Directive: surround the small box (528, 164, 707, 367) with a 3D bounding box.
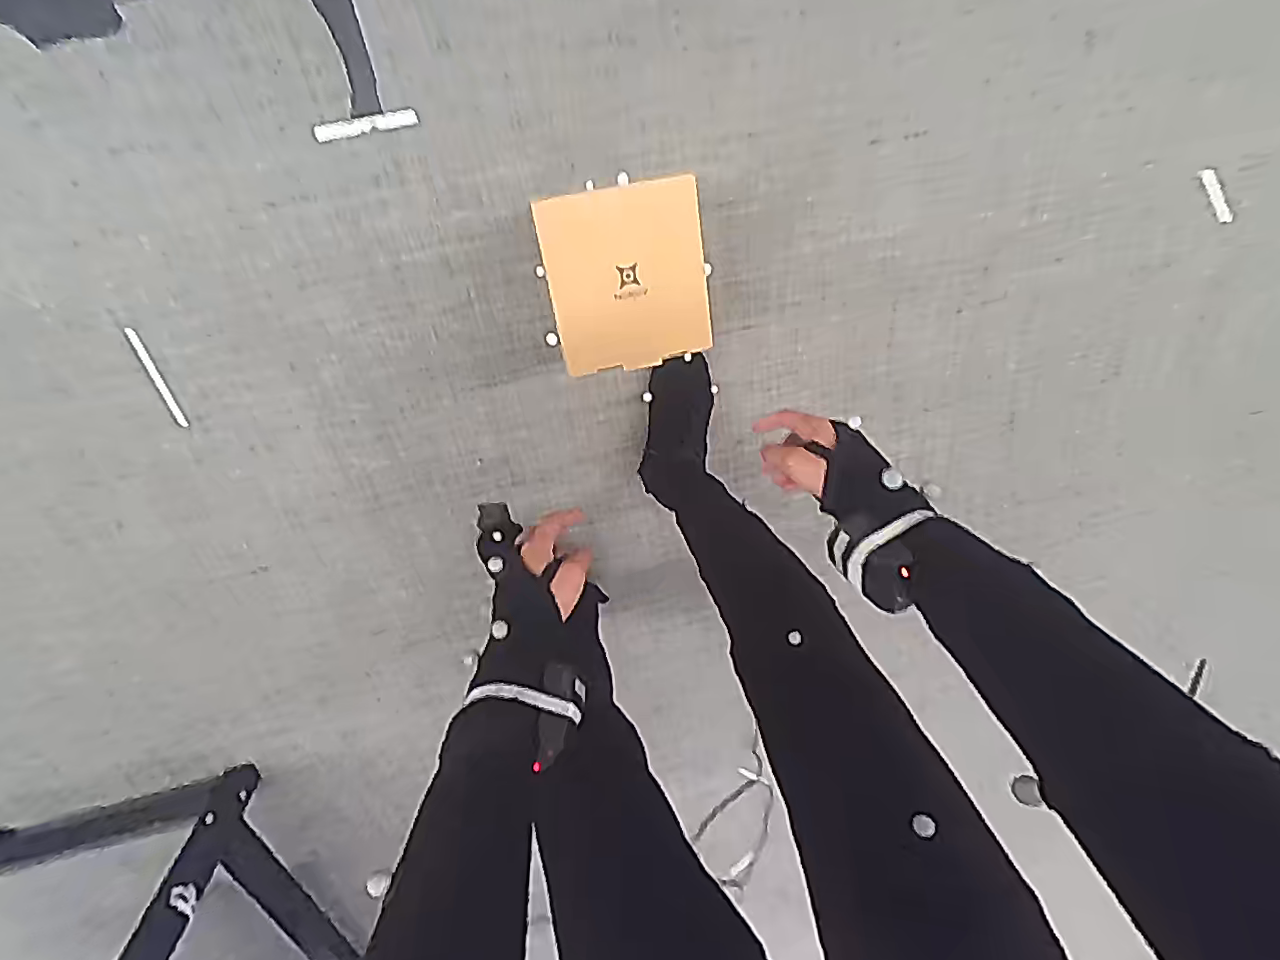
[{"bbox_3d":[-0.031,-0.248,0.629,0.168,0.176,0.179,-13,118,-5],"label":"small box"}]
